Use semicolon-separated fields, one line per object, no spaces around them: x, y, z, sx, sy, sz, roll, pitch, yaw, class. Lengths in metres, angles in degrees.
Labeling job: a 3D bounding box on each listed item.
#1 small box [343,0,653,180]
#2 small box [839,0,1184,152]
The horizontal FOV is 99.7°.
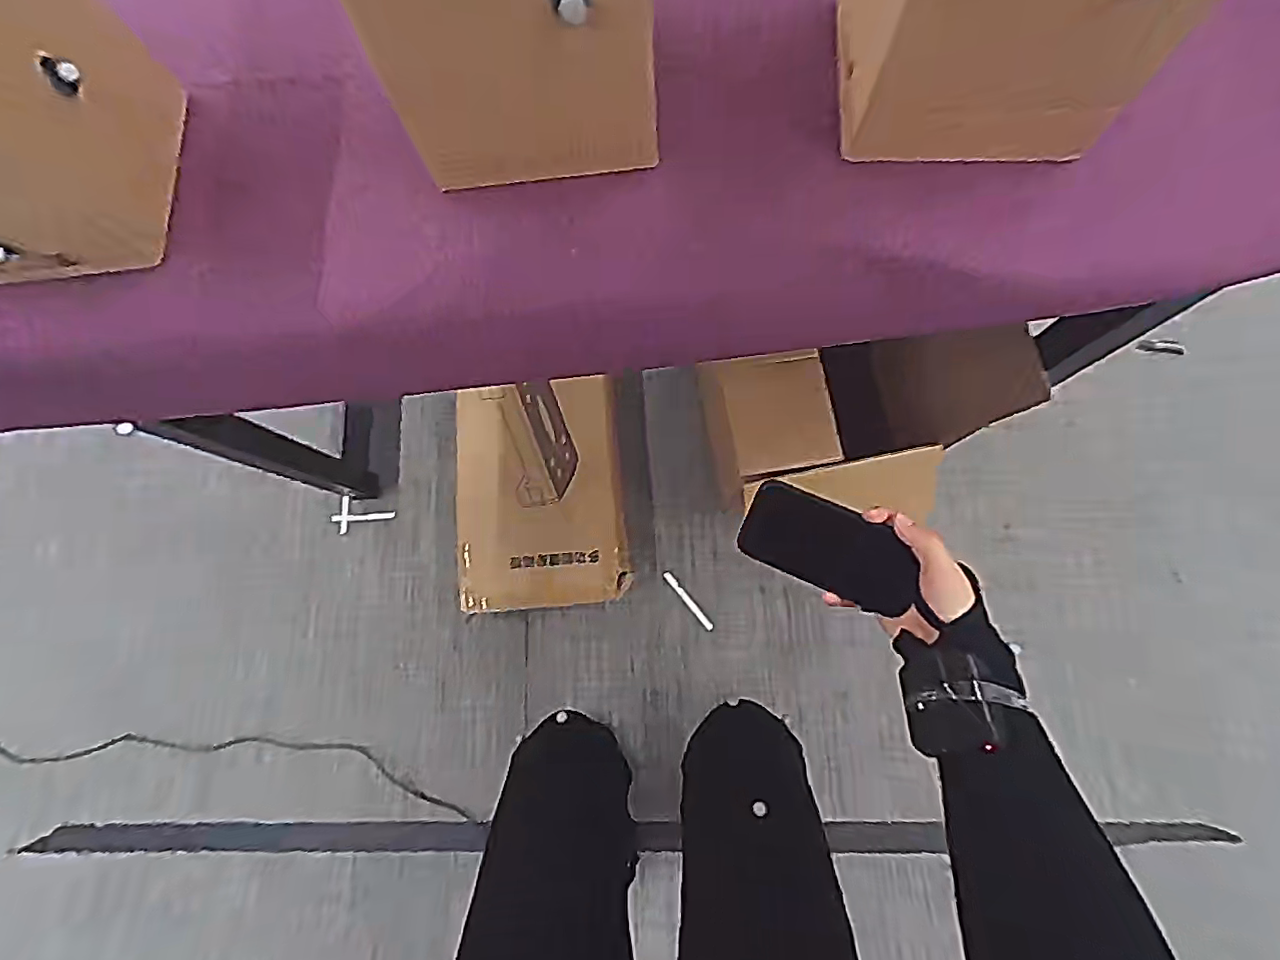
-0.083;-0.337;0.365;0.179;0.176;0.168;-5;74;2;small box
0.235;-0.343;0.347;0.179;0.176;0.168;2;77;4;small box
